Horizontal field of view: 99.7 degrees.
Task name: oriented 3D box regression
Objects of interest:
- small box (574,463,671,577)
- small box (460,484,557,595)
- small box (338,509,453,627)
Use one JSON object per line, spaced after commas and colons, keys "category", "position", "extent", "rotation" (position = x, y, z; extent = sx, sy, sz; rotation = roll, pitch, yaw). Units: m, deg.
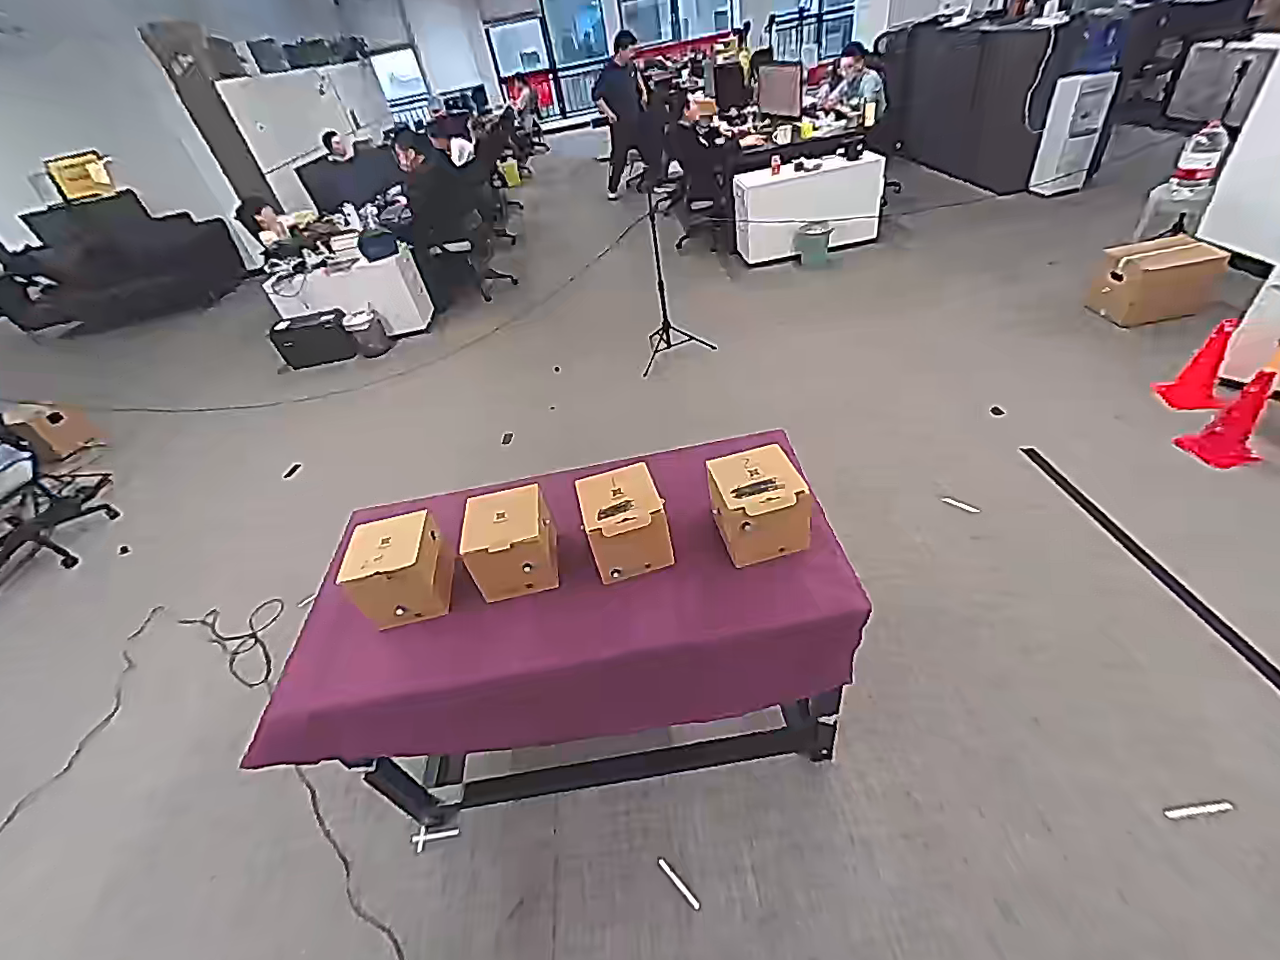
{"category": "small box", "position": [-0.037, 0.094, 1.200], "extent": [0.168, 0.176, 0.179], "rotation": [-16, 39, -5]}
{"category": "small box", "position": [-0.286, 0.139, 1.212], "extent": [0.168, 0.176, 0.179], "rotation": [-12, 39, 0]}
{"category": "small box", "position": [-0.530, 0.196, 1.203], "extent": [0.168, 0.176, 0.179], "rotation": [-13, 40, -1]}
